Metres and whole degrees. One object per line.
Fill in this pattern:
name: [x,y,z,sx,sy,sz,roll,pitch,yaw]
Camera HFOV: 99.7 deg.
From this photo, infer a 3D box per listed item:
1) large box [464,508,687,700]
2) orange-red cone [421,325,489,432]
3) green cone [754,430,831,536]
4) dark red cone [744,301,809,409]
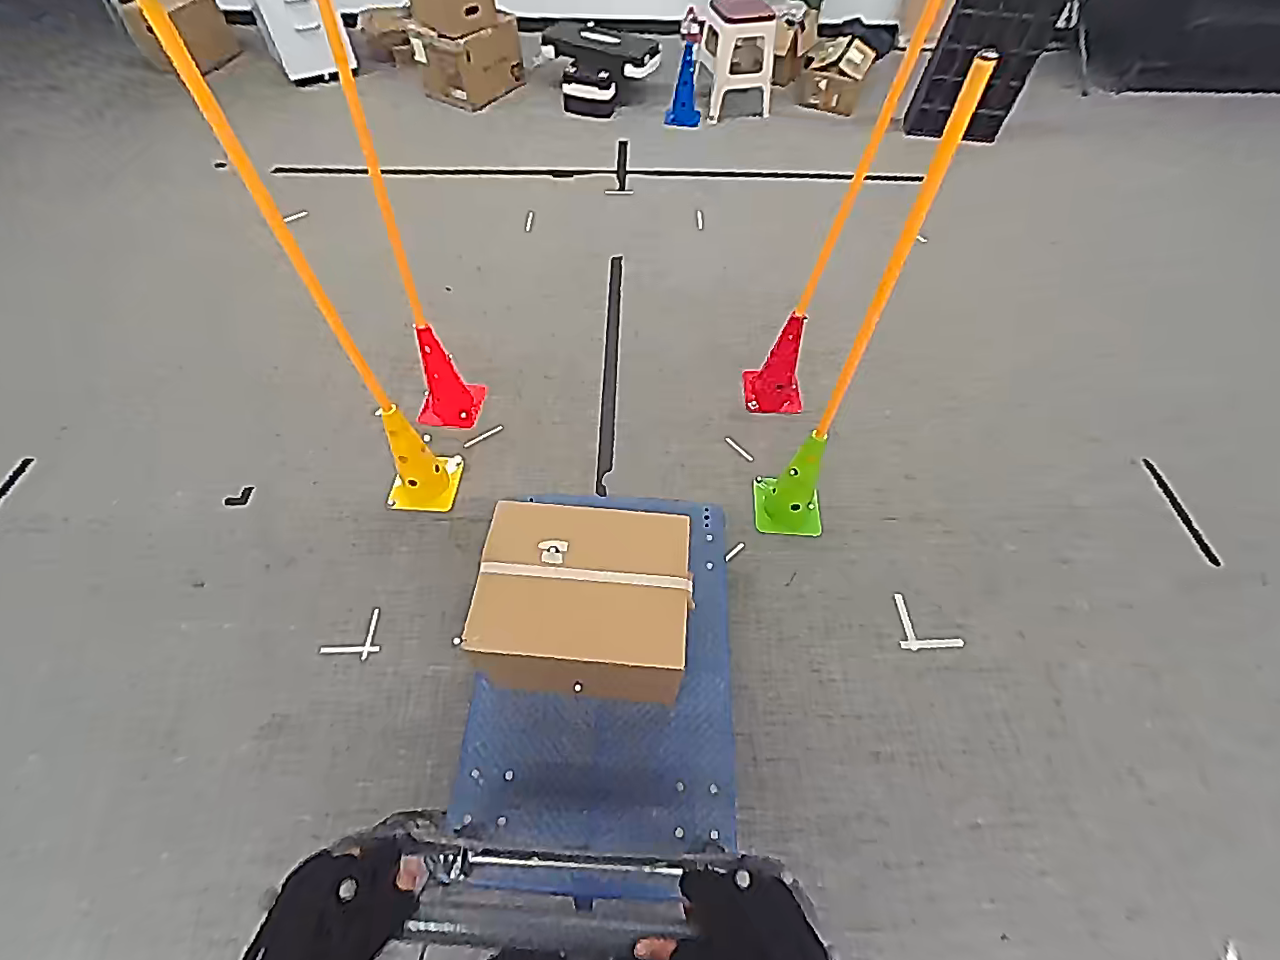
large box: [-0.109,0.278,1.171,0.408,0.320,0.320,4,56,3]
orange-red cone: [-0.644,-0.353,1.760,0.198,0.360,0.199,8,55,3]
green cone: [0.466,-0.013,1.552,0.202,0.368,0.200,5,56,0]
dark red cone: [0.487,-0.424,1.809,0.201,0.394,0.202,2,56,-2]
